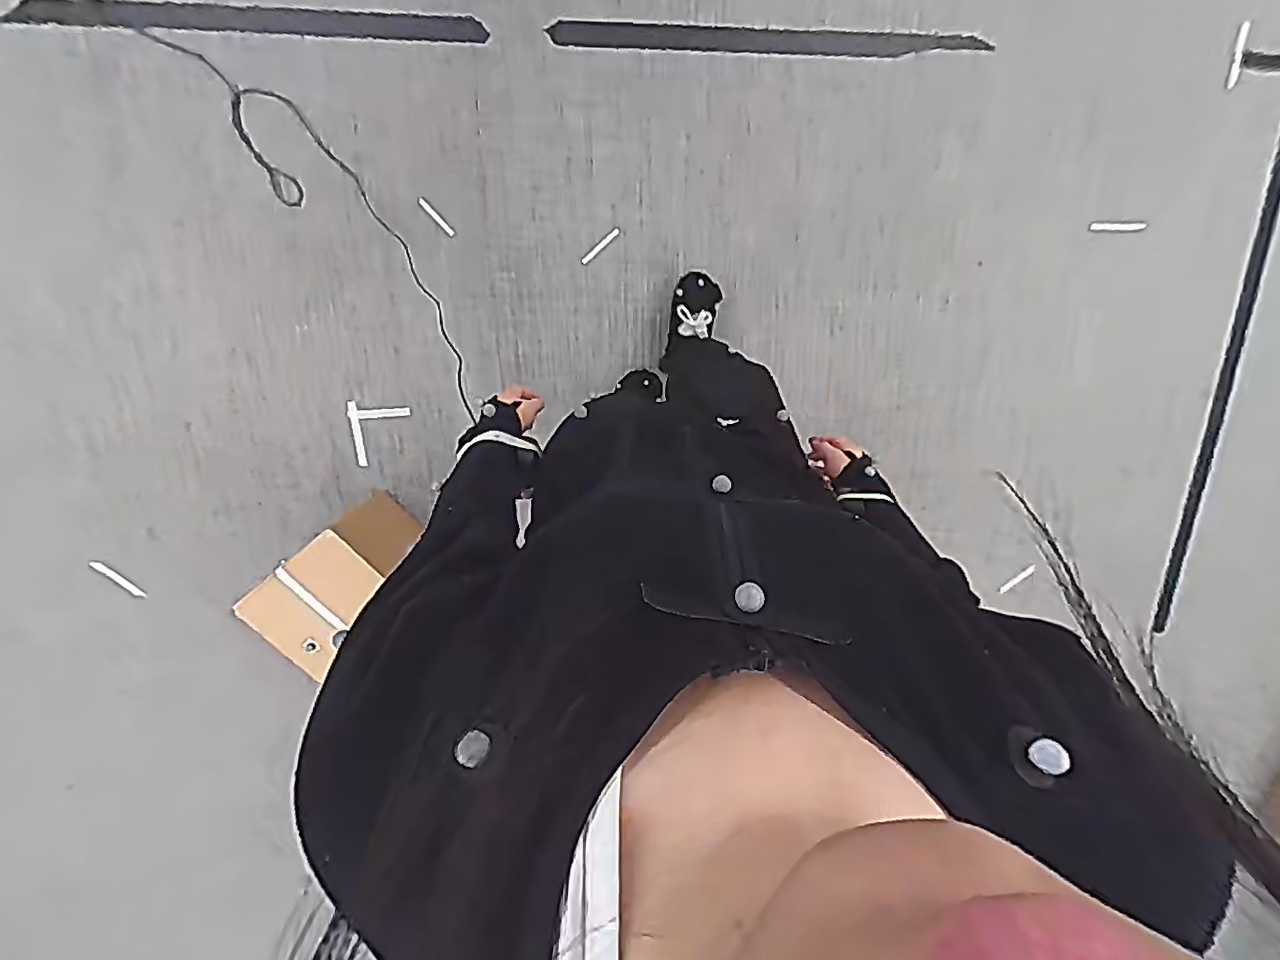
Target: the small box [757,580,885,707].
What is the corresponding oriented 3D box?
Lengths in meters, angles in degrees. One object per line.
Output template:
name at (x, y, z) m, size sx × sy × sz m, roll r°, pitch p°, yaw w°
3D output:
small box at (0.380, 0.342, 1.173) m, size 0.179 × 0.176 × 0.168 m, roll 39°, pitch 101°, yaw -13°
